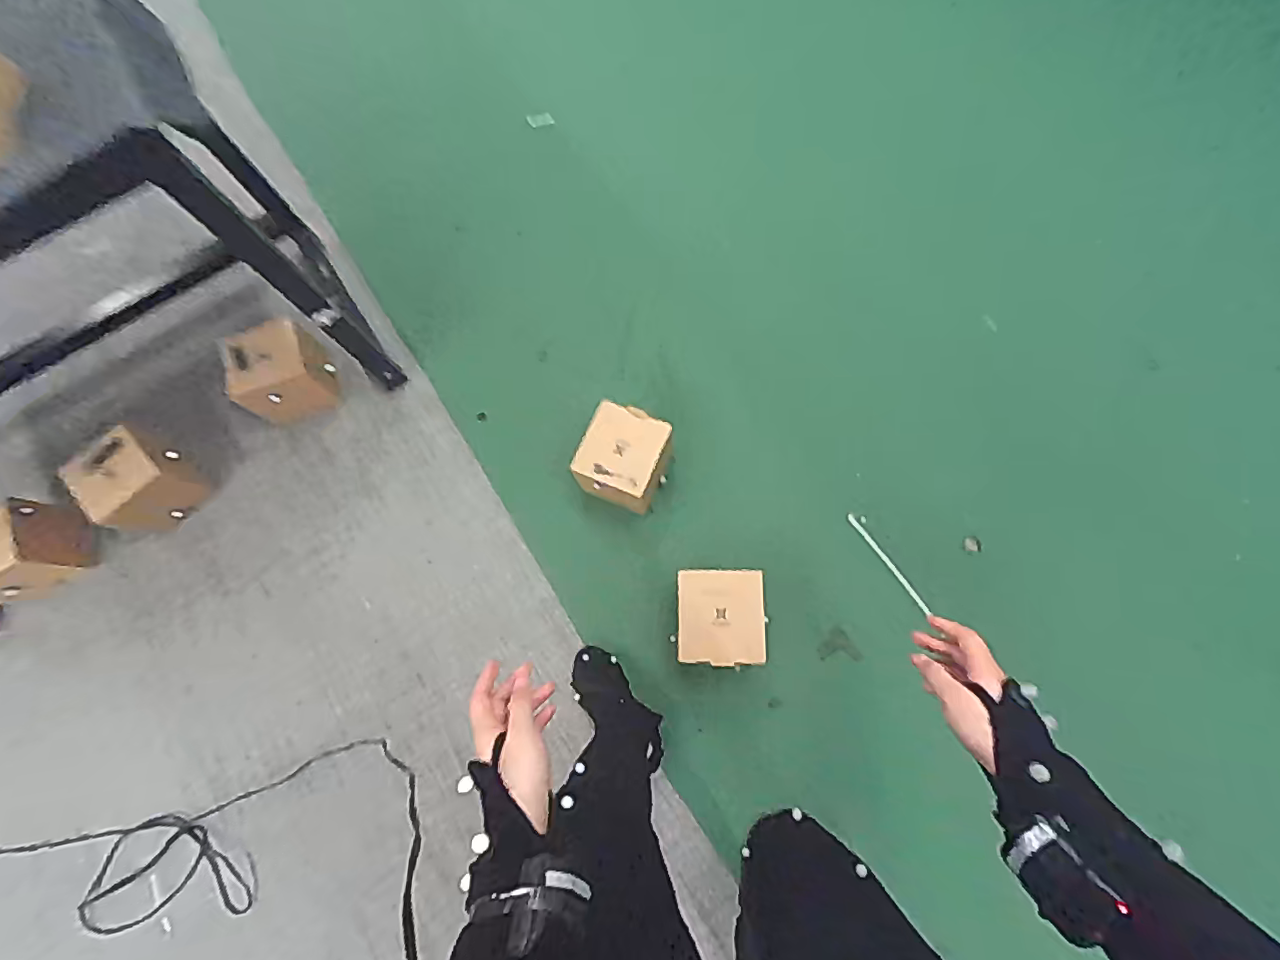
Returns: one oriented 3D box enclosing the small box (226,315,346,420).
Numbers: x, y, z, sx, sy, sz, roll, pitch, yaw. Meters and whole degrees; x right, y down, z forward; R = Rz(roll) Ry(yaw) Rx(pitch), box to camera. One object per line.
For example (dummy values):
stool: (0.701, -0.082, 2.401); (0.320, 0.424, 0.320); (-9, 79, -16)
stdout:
small box: (-0.870, -0.271, 1.338); (0.179, 0.176, 0.168); (-21, 74, -4)

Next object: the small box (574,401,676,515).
small box: (-0.030, -0.044, 1.219); (0.168, 0.176, 0.179); (23, 75, 10)

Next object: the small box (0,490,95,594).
small box: (-1.429, 0.152, 1.251); (0.168, 0.176, 0.179); (-29, 73, -5)

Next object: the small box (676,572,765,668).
small box: (0.158, 0.287, 1.107); (0.168, 0.176, 0.179); (0, 73, 3)
